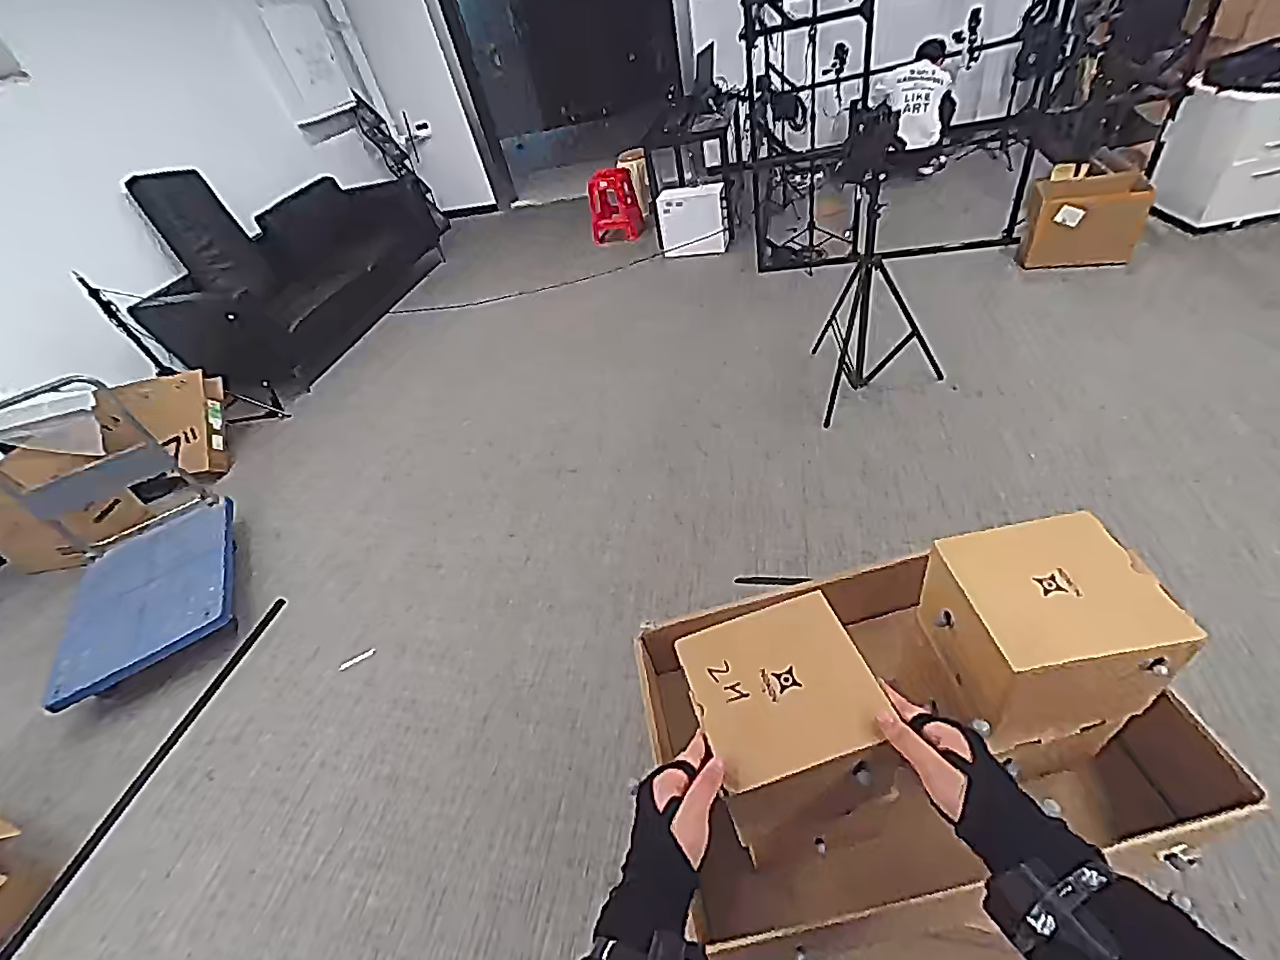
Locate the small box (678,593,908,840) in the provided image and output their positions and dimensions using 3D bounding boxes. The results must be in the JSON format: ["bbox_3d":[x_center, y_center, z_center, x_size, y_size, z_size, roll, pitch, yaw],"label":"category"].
[{"bbox_3d":[0.158,0.258,0.590,0.179,0.176,0.168,-19,41,-1],"label":"small box"}]

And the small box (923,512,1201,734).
[{"bbox_3d":[0.444,0.166,0.612,0.179,0.176,0.168,-12,42,5],"label":"small box"}]
